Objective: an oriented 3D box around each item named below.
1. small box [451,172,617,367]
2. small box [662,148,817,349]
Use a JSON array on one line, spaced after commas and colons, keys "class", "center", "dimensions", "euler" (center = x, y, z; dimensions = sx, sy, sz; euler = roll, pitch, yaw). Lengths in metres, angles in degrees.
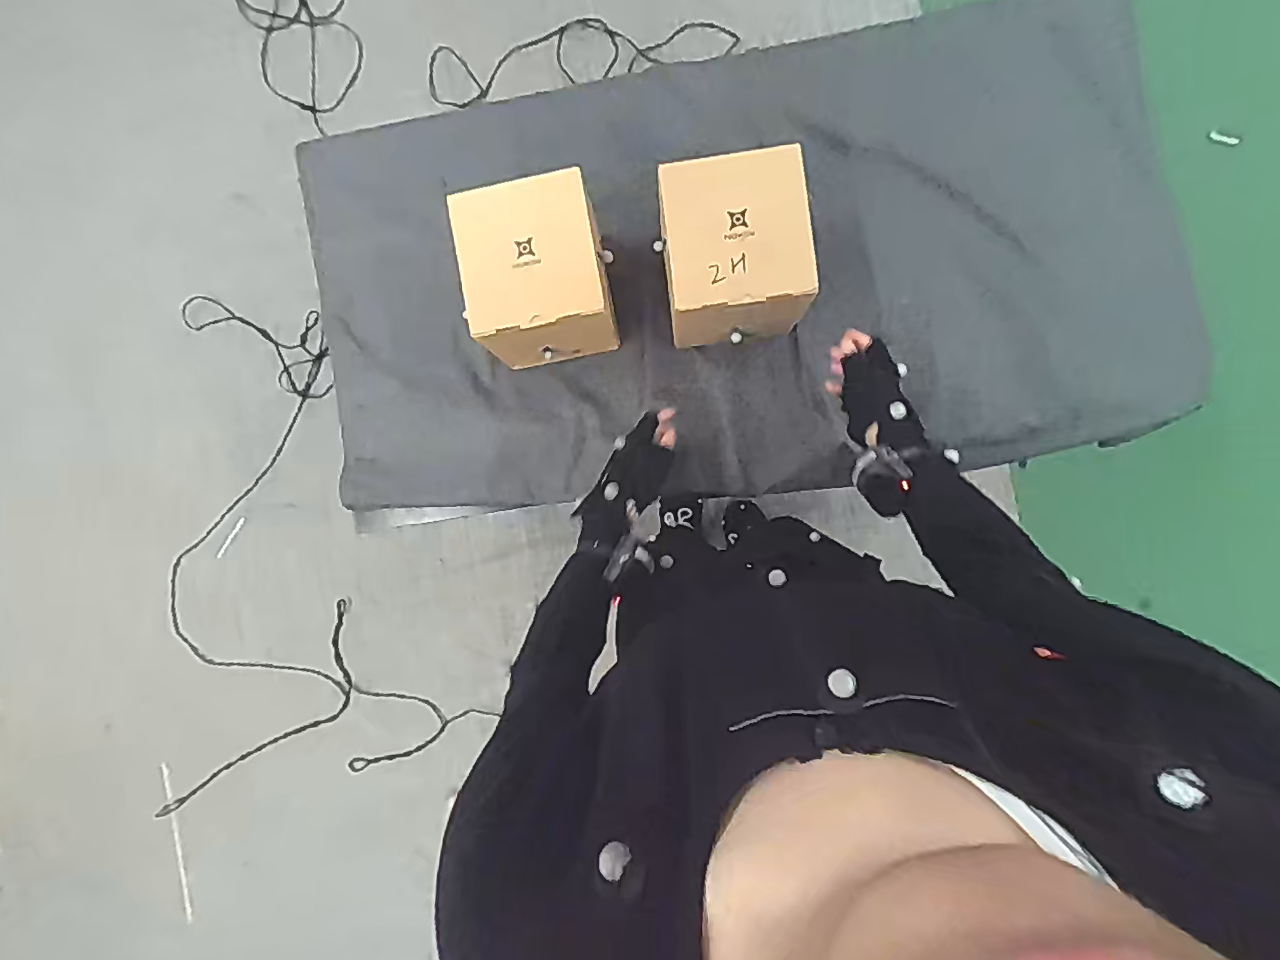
[{"class": "small box", "center": [-0.130, -0.265, 0.718], "dimensions": [0.168, 0.176, 0.179], "euler": [-10, 89, 3]}, {"class": "small box", "center": [0.117, -0.285, 0.700], "dimensions": [0.168, 0.176, 0.179], "euler": [-6, 89, 4]}]
